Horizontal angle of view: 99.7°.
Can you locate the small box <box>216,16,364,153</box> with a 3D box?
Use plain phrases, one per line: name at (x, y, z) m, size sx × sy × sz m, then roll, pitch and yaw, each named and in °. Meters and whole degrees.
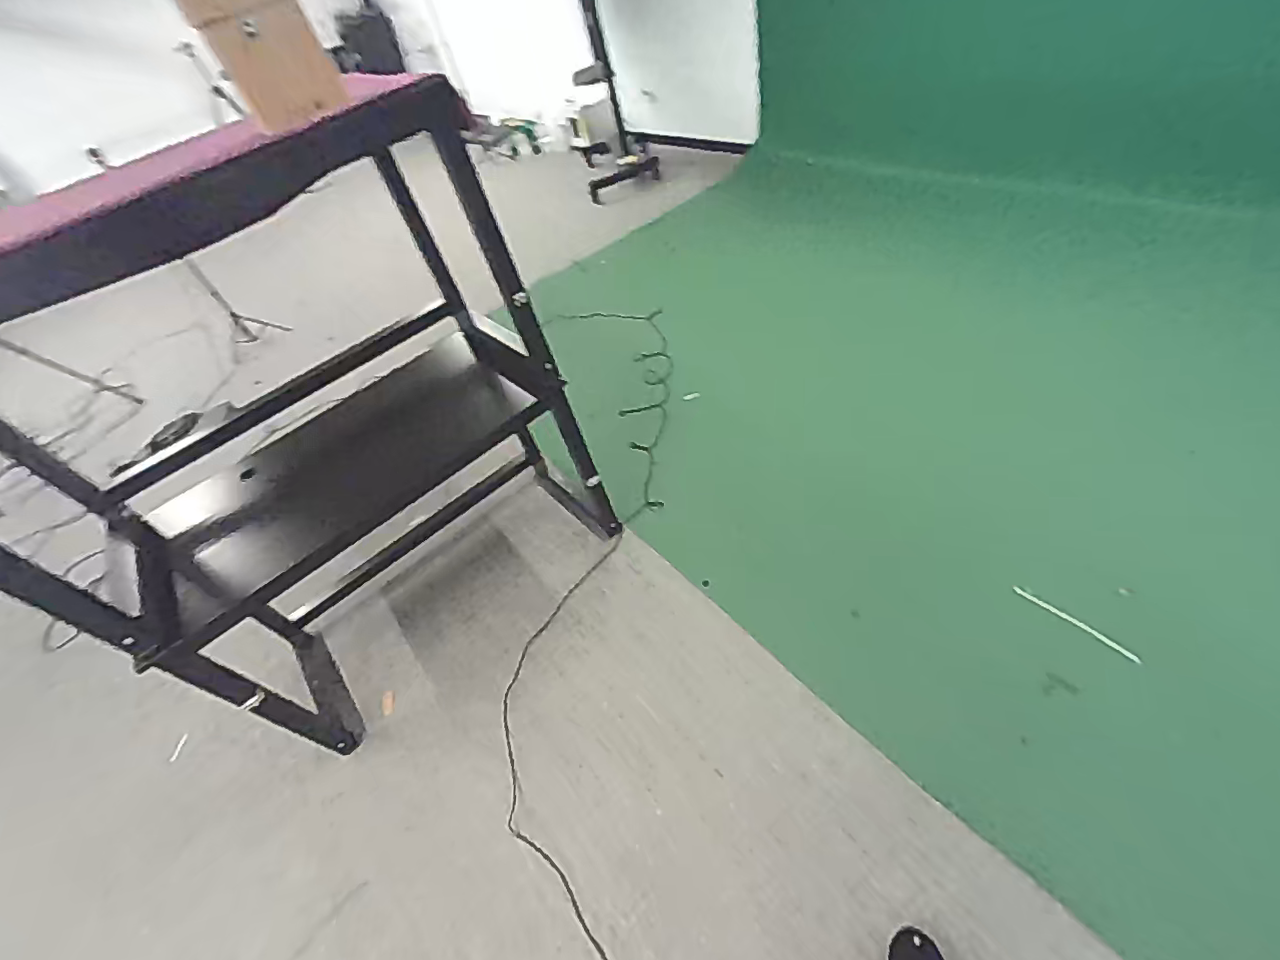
small box at (-0.662, -0.746, 1.030) m, size 0.168 × 0.176 × 0.179 m, roll -35°, pitch 47°, yaw -15°
